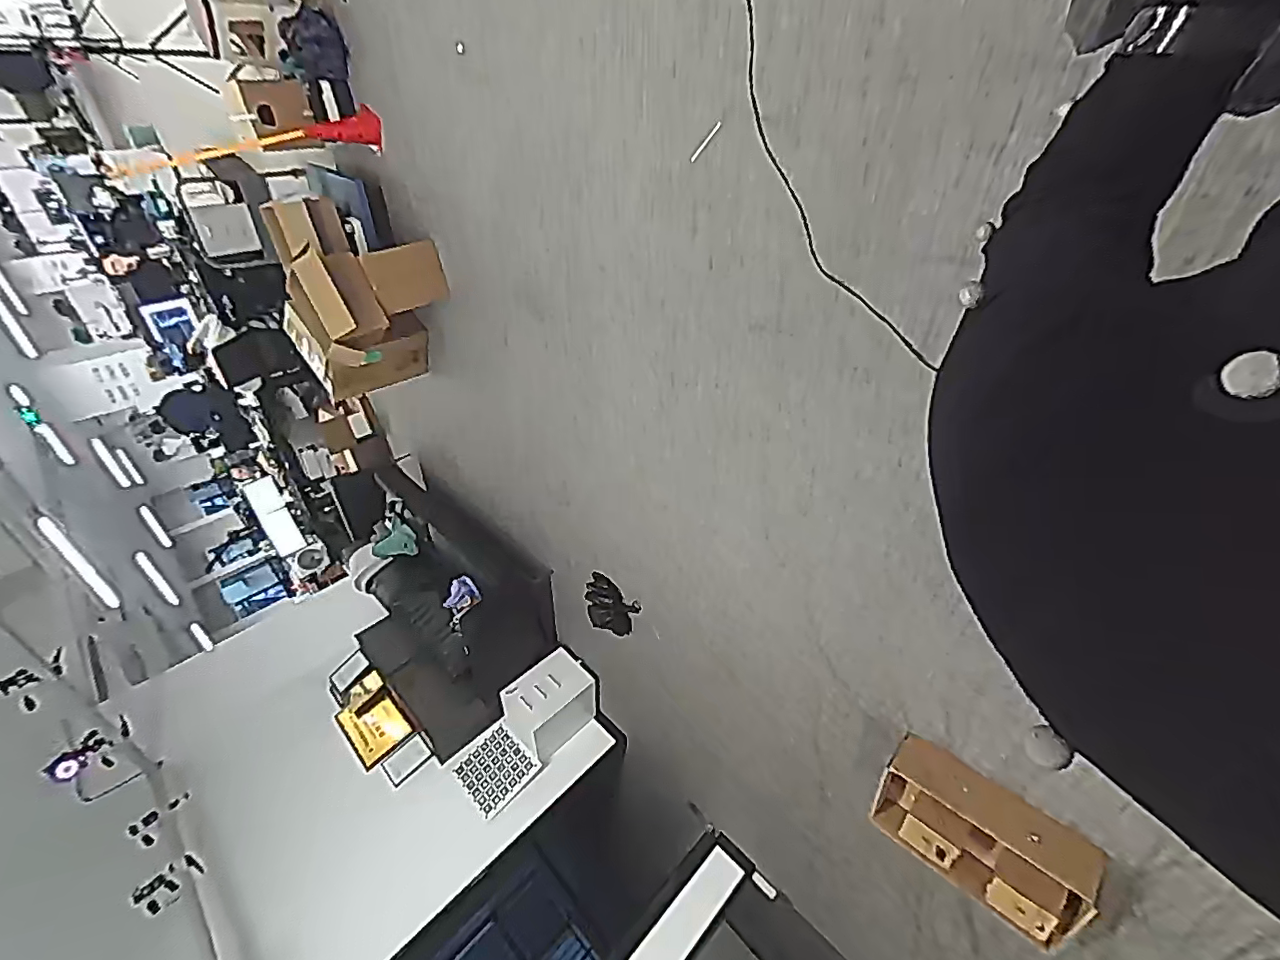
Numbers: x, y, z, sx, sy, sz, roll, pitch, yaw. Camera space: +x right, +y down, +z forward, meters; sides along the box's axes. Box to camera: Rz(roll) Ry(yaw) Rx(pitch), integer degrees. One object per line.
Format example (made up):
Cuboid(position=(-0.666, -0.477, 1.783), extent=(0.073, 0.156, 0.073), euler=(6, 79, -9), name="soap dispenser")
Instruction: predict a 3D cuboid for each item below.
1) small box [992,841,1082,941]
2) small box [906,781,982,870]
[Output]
Cuboid(position=(1.284, 1.316, 1.752), extent=(0.179, 0.176, 0.168), euler=(24, 134, 41), name="small box")
Cuboid(position=(1.085, 1.223, 1.926), extent=(0.179, 0.176, 0.168), euler=(26, 134, 36), name="small box")
